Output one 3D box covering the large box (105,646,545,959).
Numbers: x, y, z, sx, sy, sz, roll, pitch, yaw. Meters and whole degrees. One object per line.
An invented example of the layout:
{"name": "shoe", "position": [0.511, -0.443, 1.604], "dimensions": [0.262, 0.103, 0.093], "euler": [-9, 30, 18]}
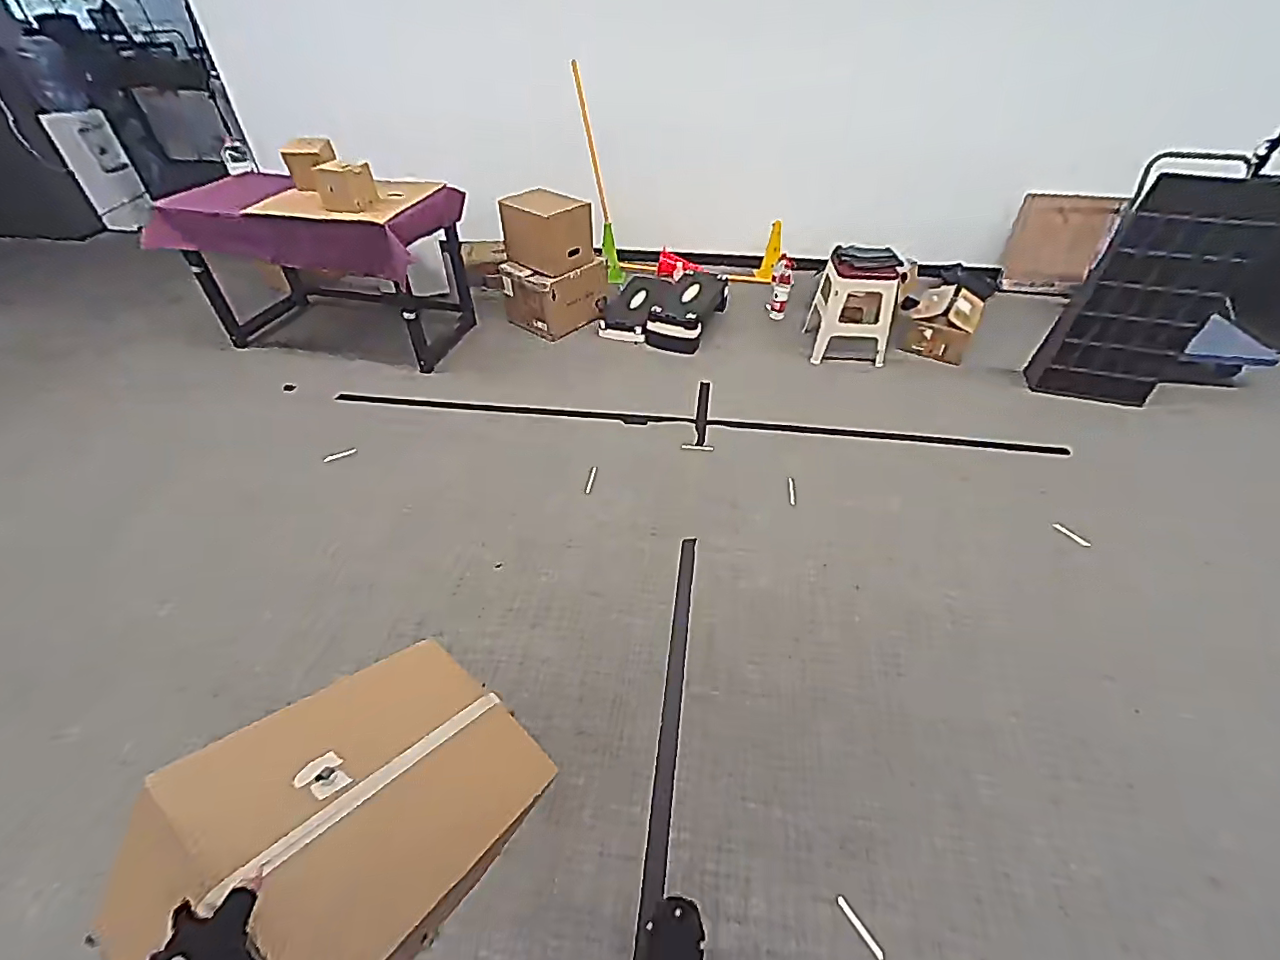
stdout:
{"name": "large box", "position": [-0.418, 0.519, 0.774], "dimensions": [0.320, 0.320, 0.408], "euler": [37, 21, 17]}
